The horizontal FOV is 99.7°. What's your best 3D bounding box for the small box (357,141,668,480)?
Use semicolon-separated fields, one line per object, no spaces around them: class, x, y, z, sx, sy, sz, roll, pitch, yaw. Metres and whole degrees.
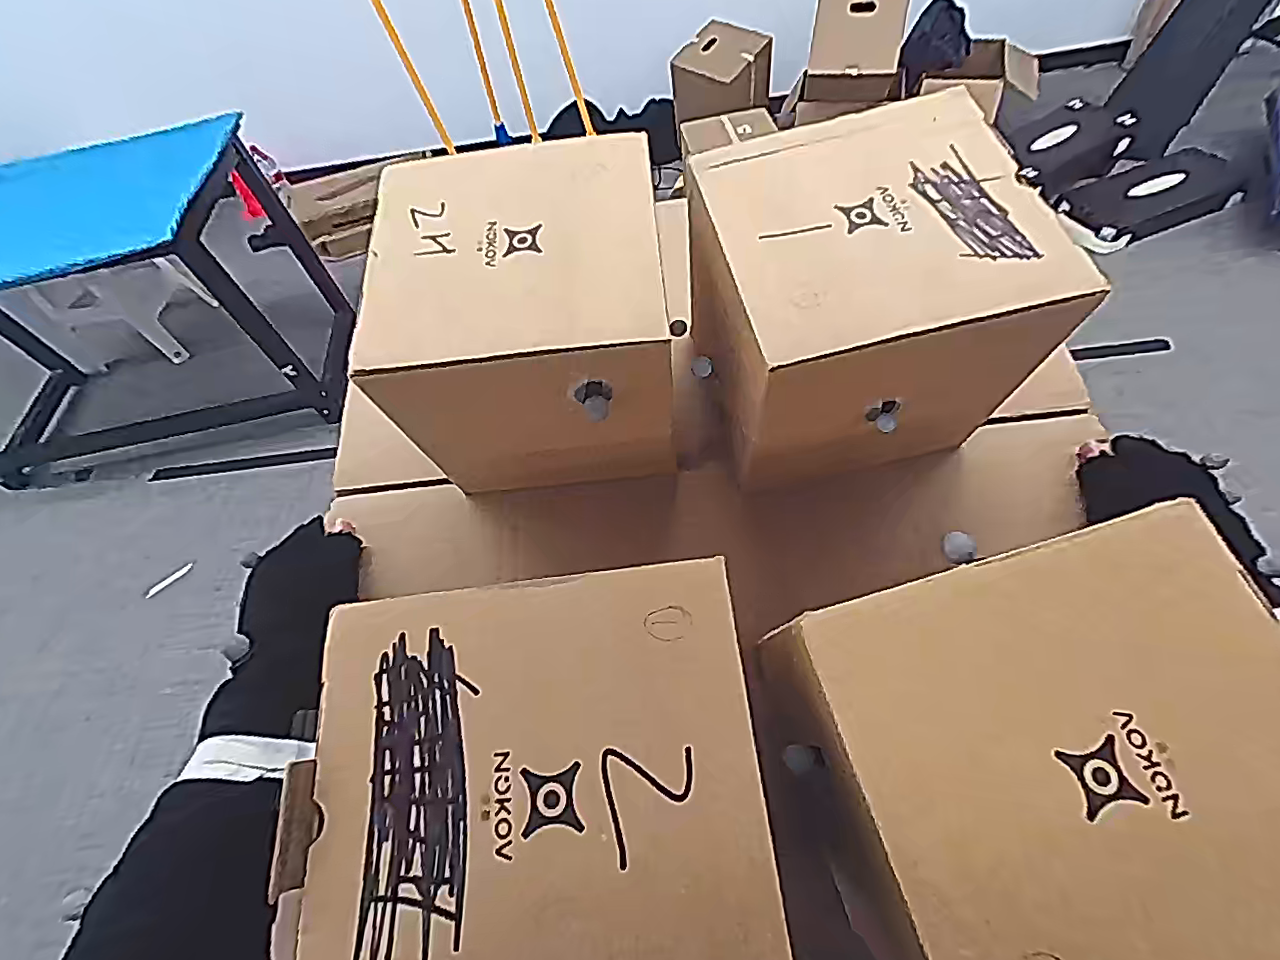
small box;-0.071;-0.110;0.403;0.179;0.176;0.168;-5;66;4
